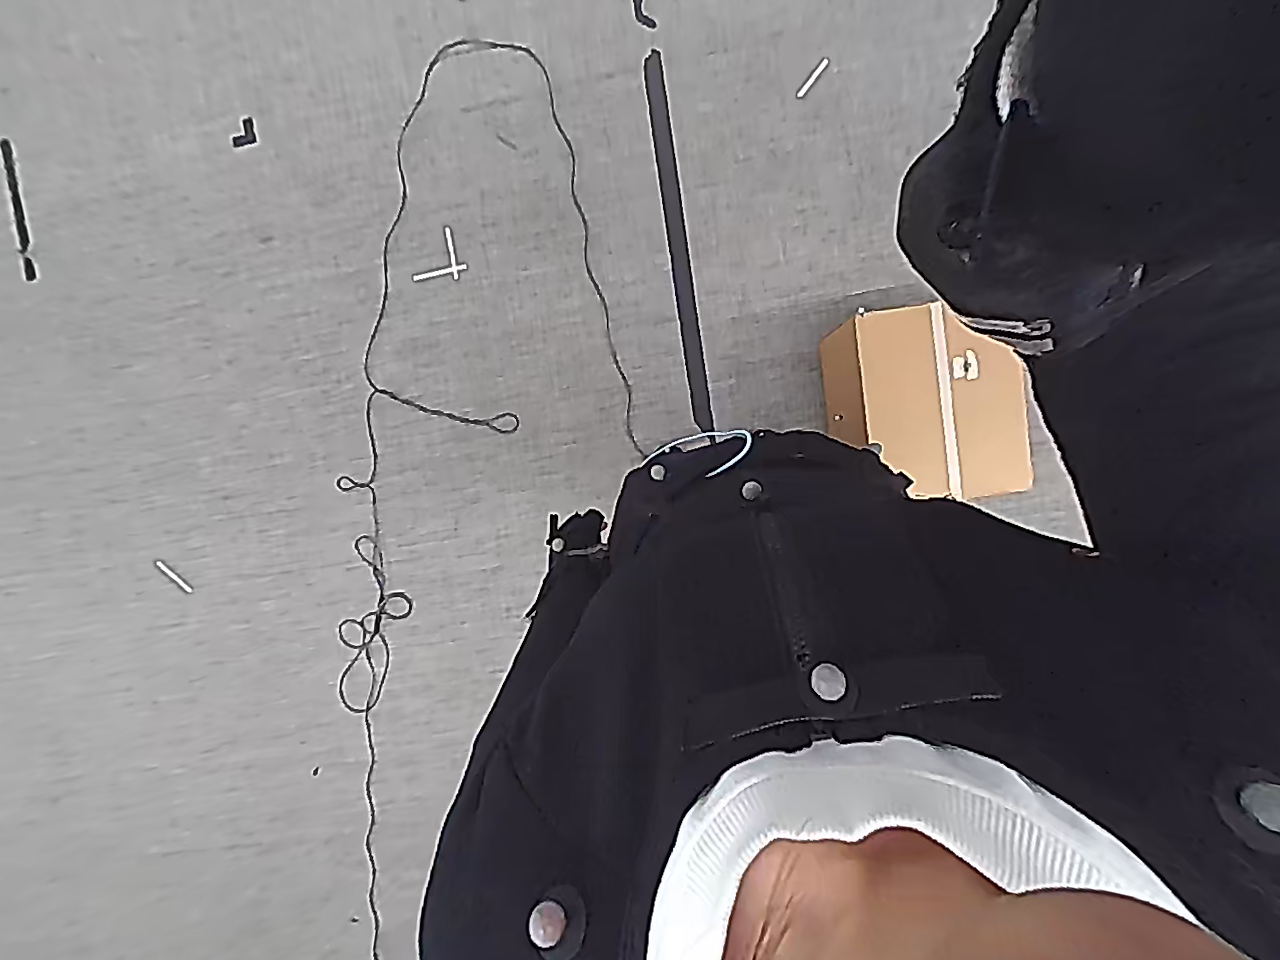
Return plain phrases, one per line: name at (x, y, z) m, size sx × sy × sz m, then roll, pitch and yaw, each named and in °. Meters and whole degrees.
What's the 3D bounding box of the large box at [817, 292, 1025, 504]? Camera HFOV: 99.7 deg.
large box at (0.625, -0.172, 1.262) m, size 0.320 × 0.320 × 0.408 m, roll -8°, pitch 92°, yaw 4°
